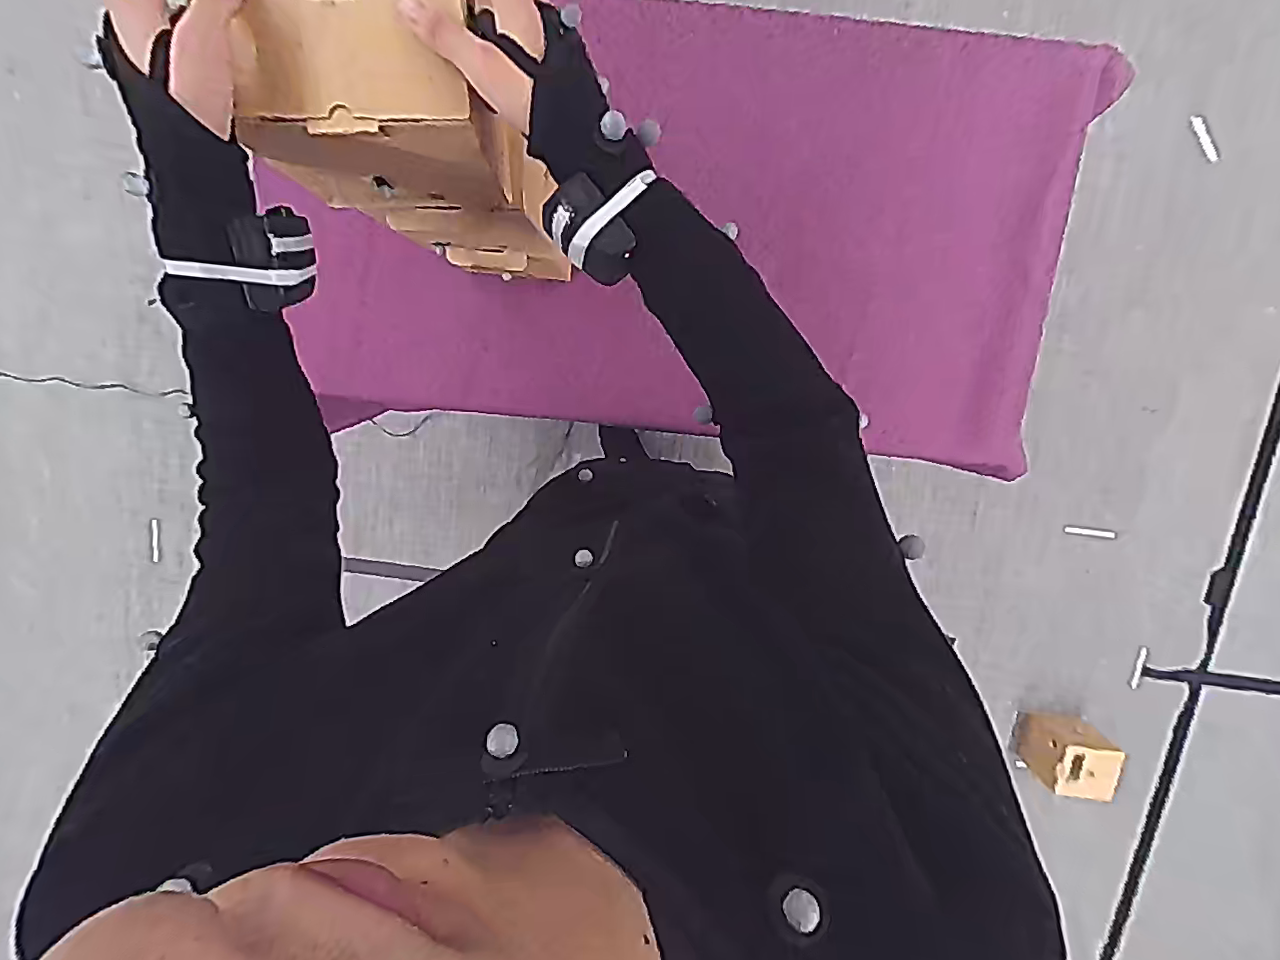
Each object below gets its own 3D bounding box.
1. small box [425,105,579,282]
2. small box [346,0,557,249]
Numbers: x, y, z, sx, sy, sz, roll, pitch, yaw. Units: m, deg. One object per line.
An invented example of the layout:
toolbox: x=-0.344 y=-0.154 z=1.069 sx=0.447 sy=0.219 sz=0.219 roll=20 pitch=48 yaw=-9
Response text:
small box: x=-0.179 y=-0.384 z=0.737 sx=0.168 sy=0.176 sz=0.179 roll=6 pitch=101 yaw=0
small box: x=-0.183 y=-0.355 z=0.575 sx=0.168 sy=0.176 sz=0.179 roll=2 pitch=100 yaw=0
